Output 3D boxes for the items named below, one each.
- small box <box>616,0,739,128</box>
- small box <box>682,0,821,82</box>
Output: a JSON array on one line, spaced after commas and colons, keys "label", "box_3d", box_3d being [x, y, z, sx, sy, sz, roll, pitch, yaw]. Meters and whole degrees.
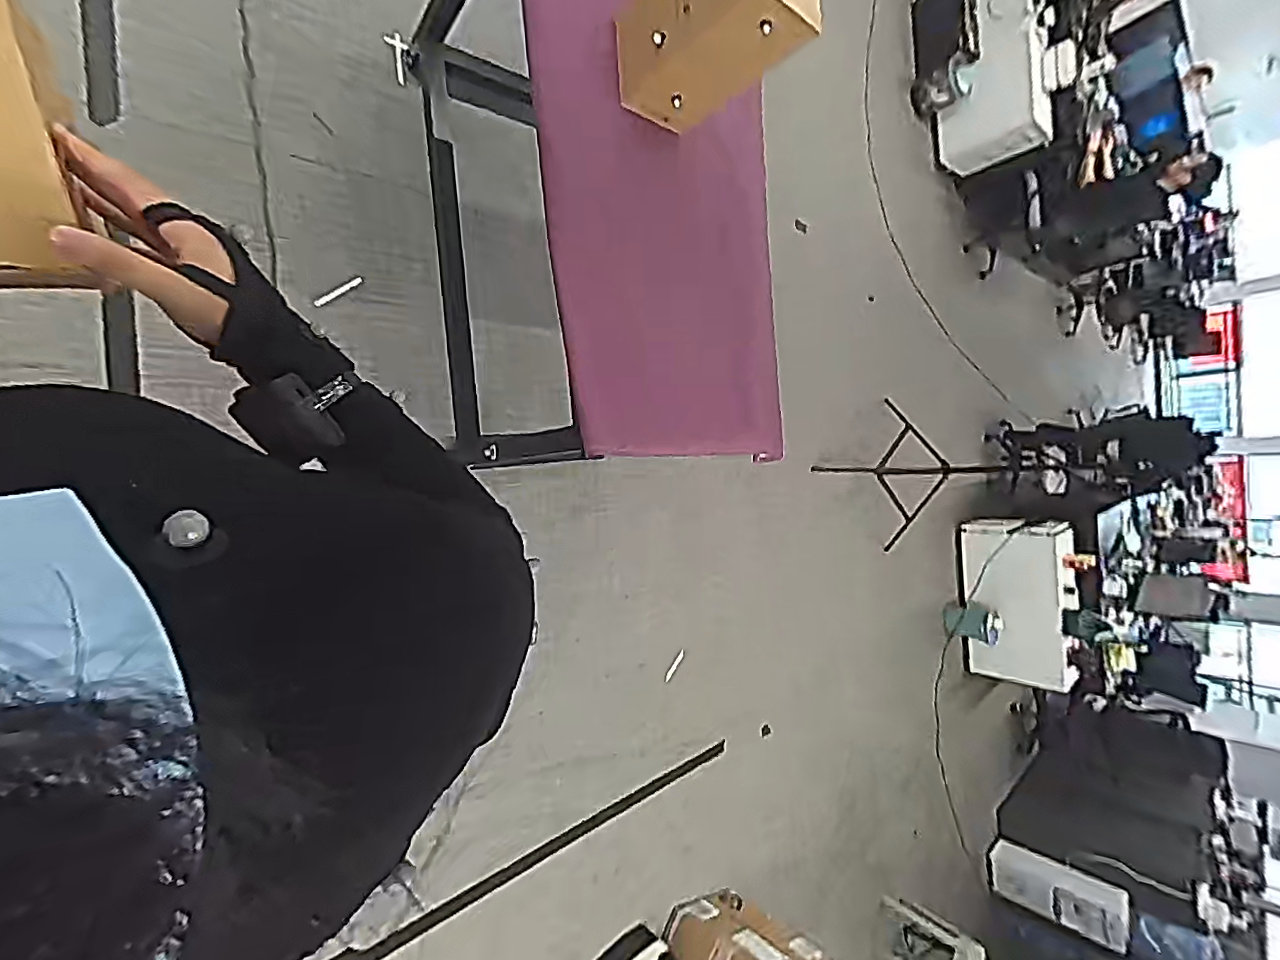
[{"label": "small box", "box_3d": [0.069, -0.822, 1.036, 0.168, 0.176, 0.179, -4, 92, -41]}, {"label": "small box", "box_3d": [0.181, -0.826, 0.916, 0.179, 0.176, 0.168, -7, 94, -41]}]
